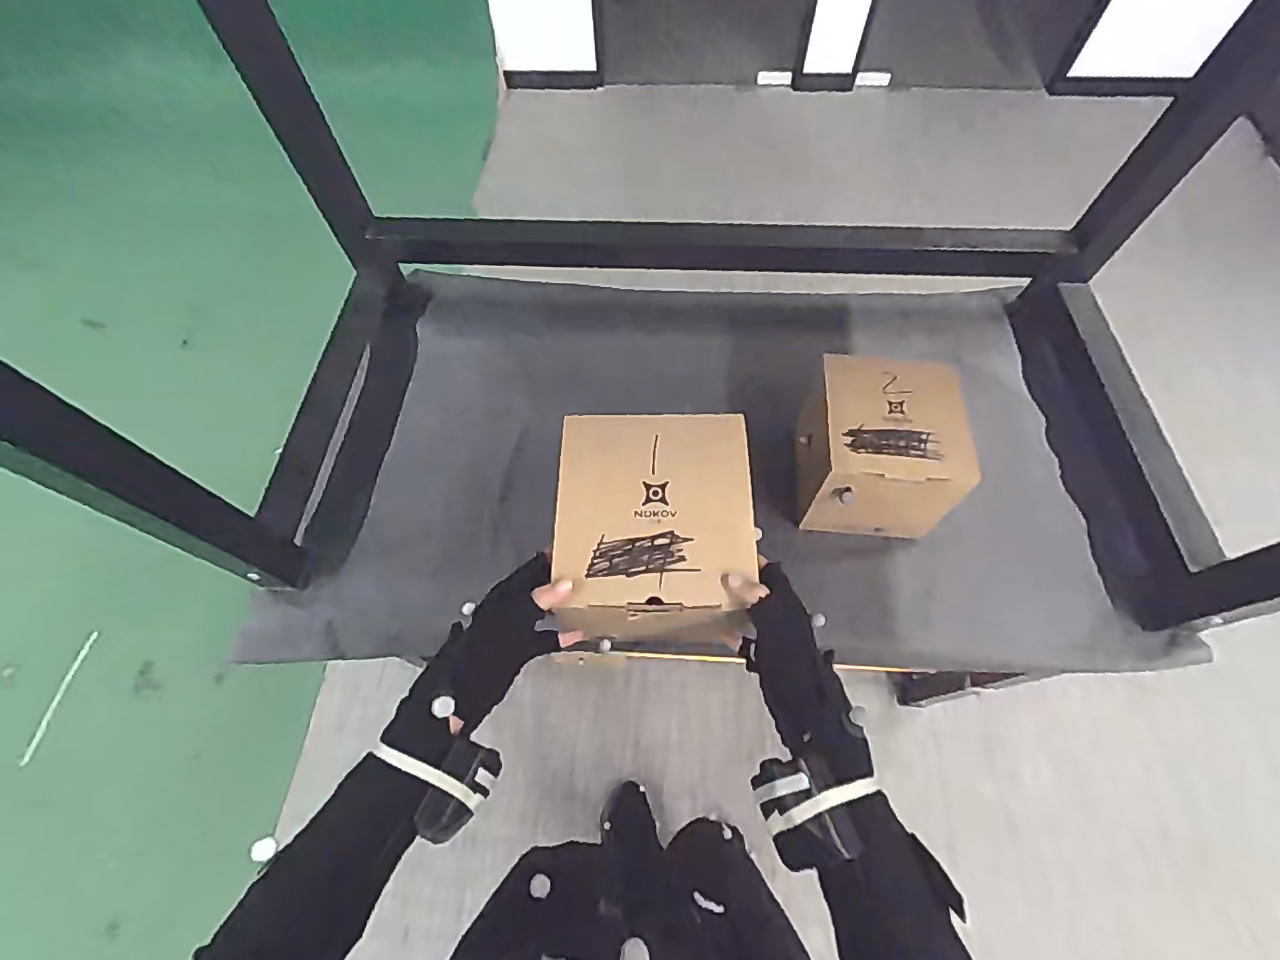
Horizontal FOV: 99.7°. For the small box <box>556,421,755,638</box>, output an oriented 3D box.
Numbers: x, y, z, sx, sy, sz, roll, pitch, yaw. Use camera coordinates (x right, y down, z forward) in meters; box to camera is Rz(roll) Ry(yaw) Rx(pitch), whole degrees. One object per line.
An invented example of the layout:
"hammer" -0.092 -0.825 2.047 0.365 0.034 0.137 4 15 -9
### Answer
"small box" 0.018 0.058 0.543 0.168 0.176 0.179 0 64 2
